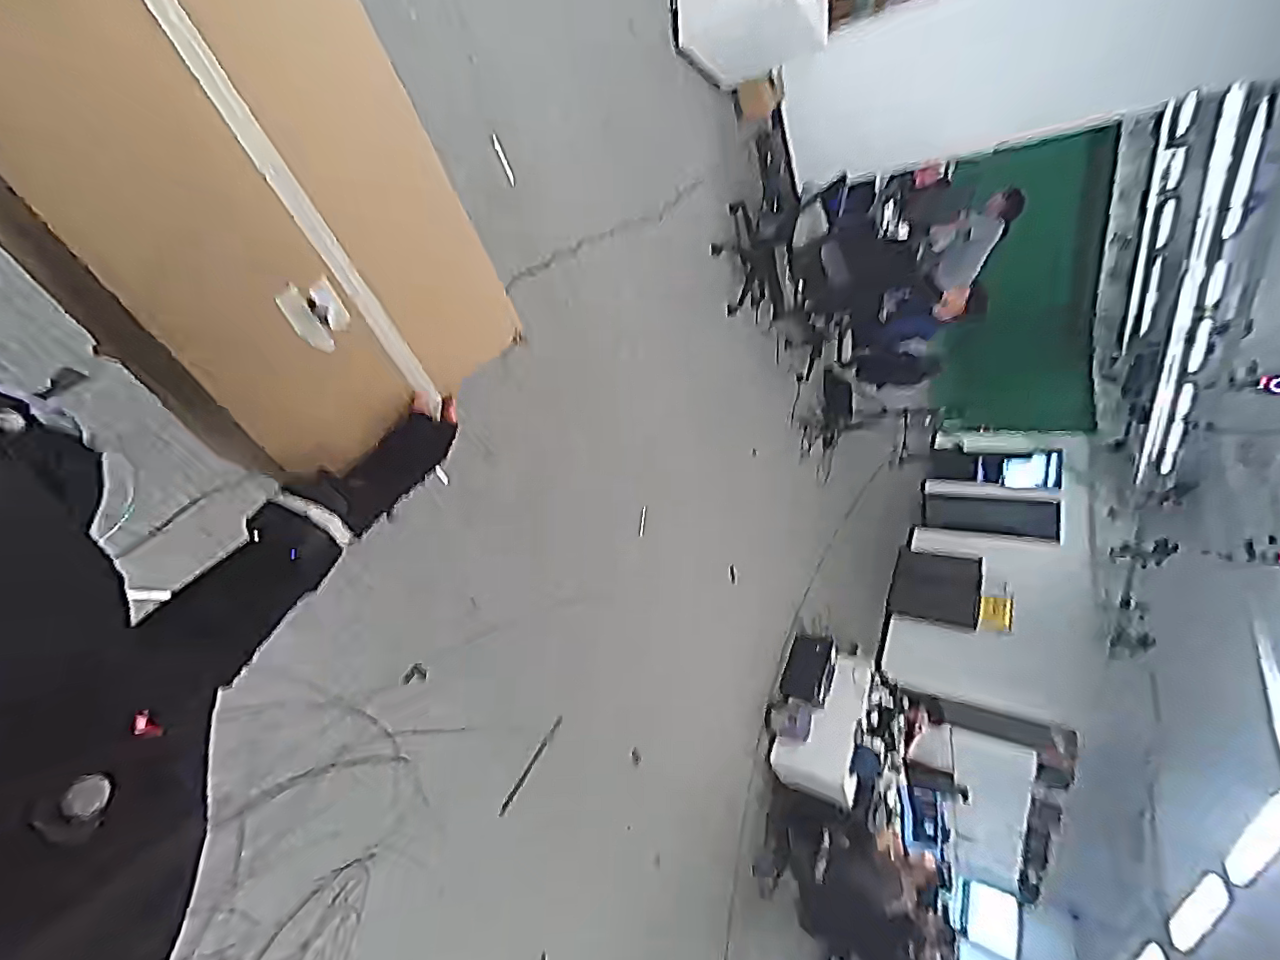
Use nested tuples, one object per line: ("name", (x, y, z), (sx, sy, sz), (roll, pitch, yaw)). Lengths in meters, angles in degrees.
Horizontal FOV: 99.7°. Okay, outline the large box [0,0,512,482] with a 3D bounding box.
("large box", (-0.422, -0.263, 0.574), (0.320, 0.320, 0.408), (-51, 136, -30))
